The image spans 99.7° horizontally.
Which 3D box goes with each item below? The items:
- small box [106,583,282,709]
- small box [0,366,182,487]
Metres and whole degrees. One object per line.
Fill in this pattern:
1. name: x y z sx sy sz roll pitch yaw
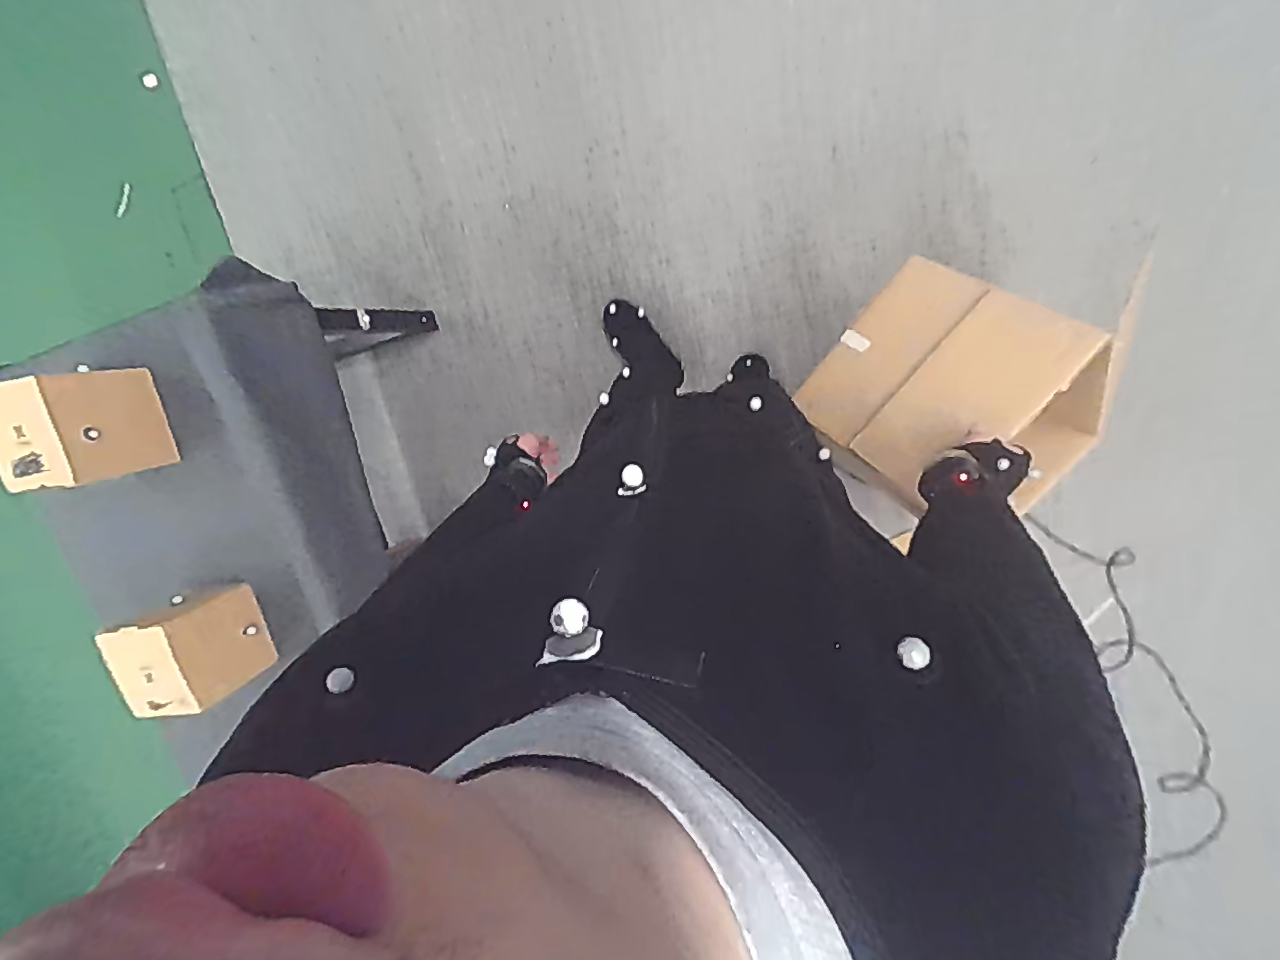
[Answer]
1. small box: -0.836 0.307 1.030 0.168 0.176 0.179 -9 103 16
2. small box: -0.958 -0.097 0.941 0.168 0.176 0.179 -5 104 14
